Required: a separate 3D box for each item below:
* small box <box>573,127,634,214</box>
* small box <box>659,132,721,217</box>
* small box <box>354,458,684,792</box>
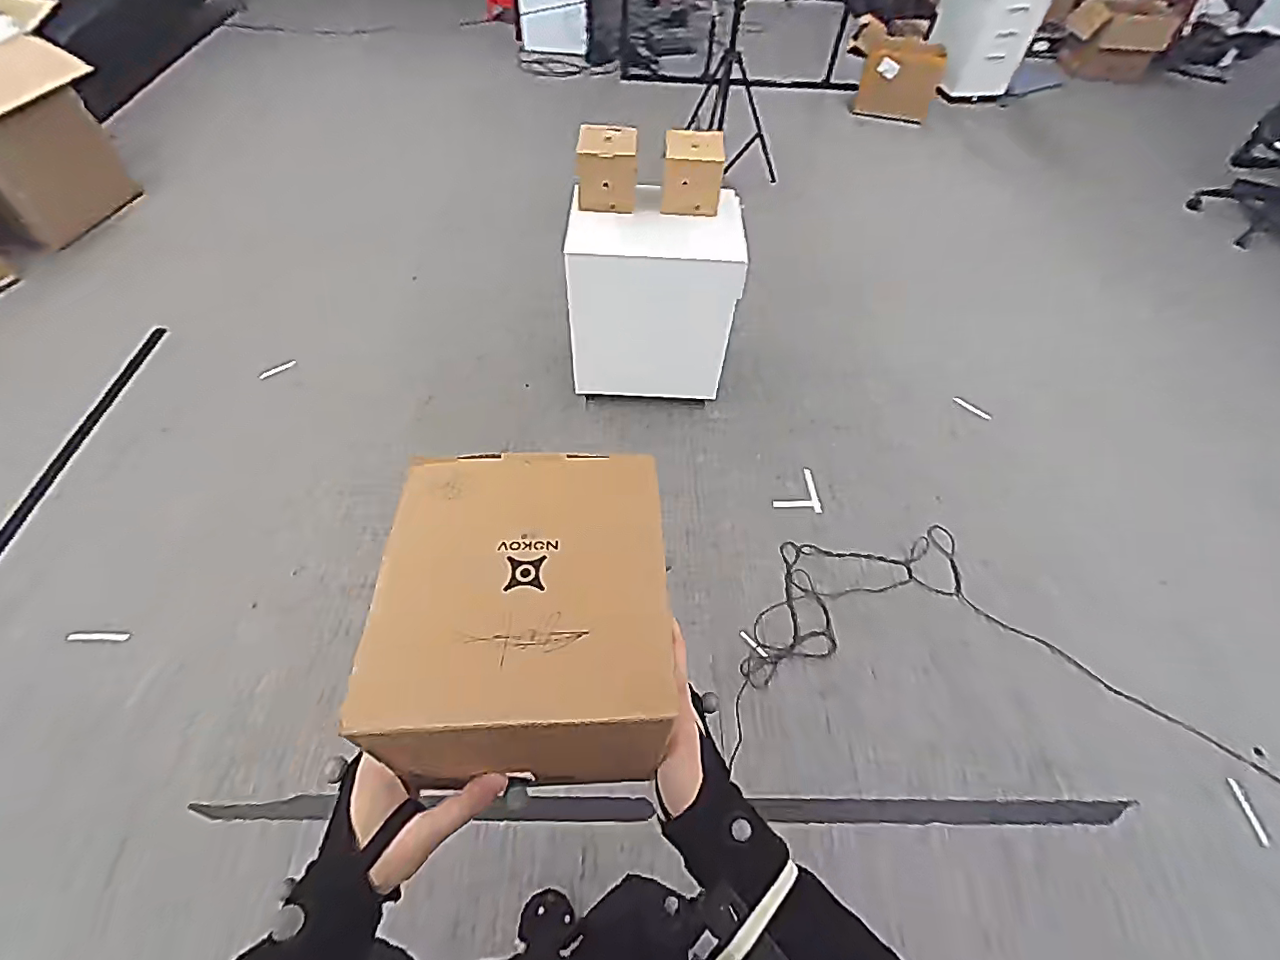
[{"bbox_3d":[-0.105,-0.917,1.609,0.168,0.176,0.179,3,57,-2],"label":"small box"},{"bbox_3d":[0.146,-0.911,1.618,0.168,0.176,0.179,2,55,-1],"label":"small box"},{"bbox_3d":[-0.067,0.103,0.380,0.168,0.176,0.179,-1,52,-4],"label":"small box"}]
